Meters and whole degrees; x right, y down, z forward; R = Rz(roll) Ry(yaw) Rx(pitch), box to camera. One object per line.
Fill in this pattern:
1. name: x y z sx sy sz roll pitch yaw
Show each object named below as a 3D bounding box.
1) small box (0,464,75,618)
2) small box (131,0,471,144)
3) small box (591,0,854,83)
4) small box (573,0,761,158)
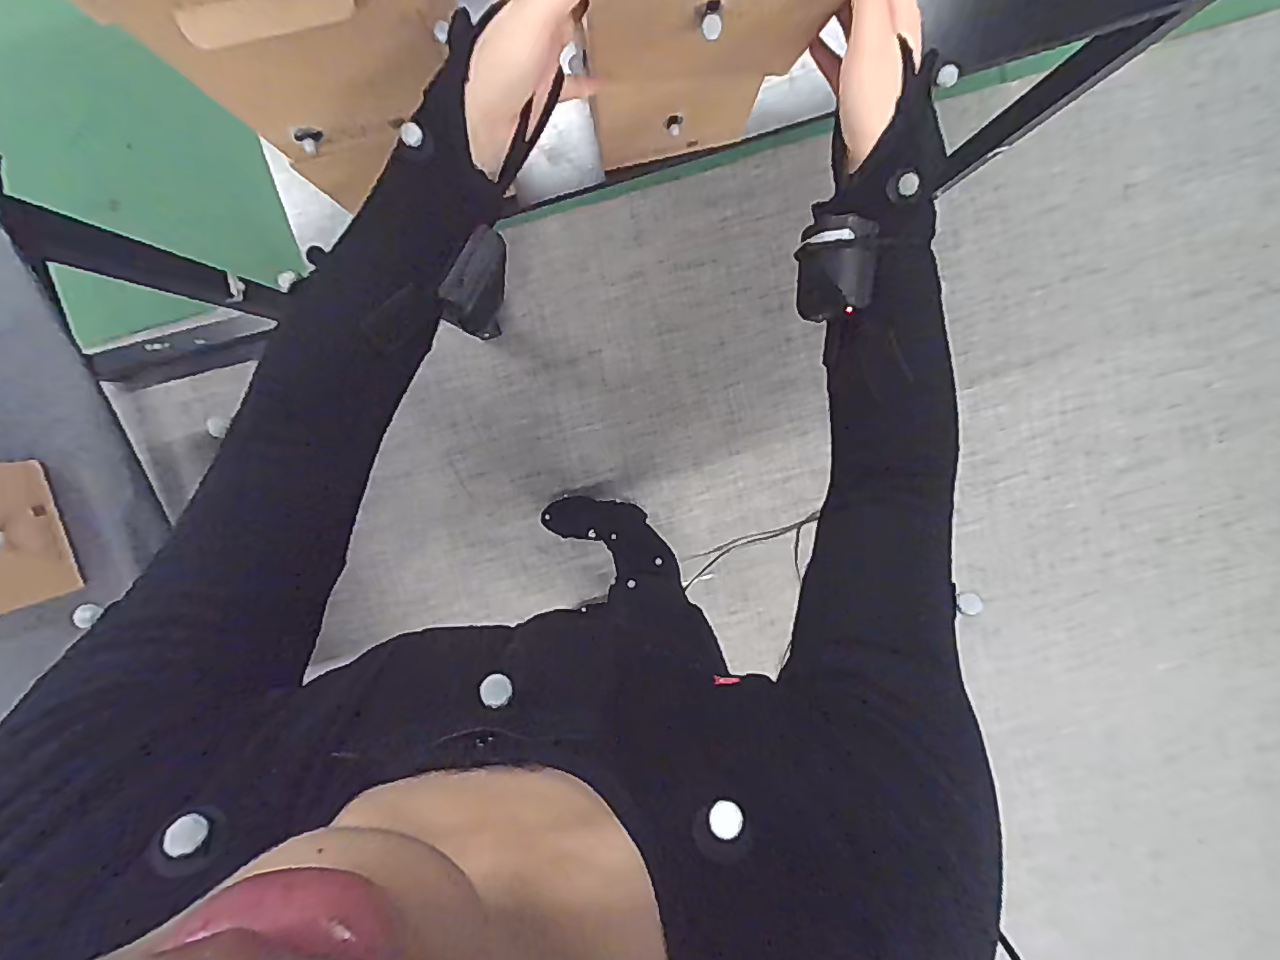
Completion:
1. small box: -0.783 0.084 0.585 0.179 0.176 0.168 -13 98 2
2. small box: -0.234 -0.368 0.379 0.168 0.176 0.179 -13 96 -1
3. small box: 0.050 -0.403 0.373 0.179 0.176 0.168 -5 108 -2
4. small box: 0.025 -0.452 0.541 0.168 0.176 0.179 -13 97 0
